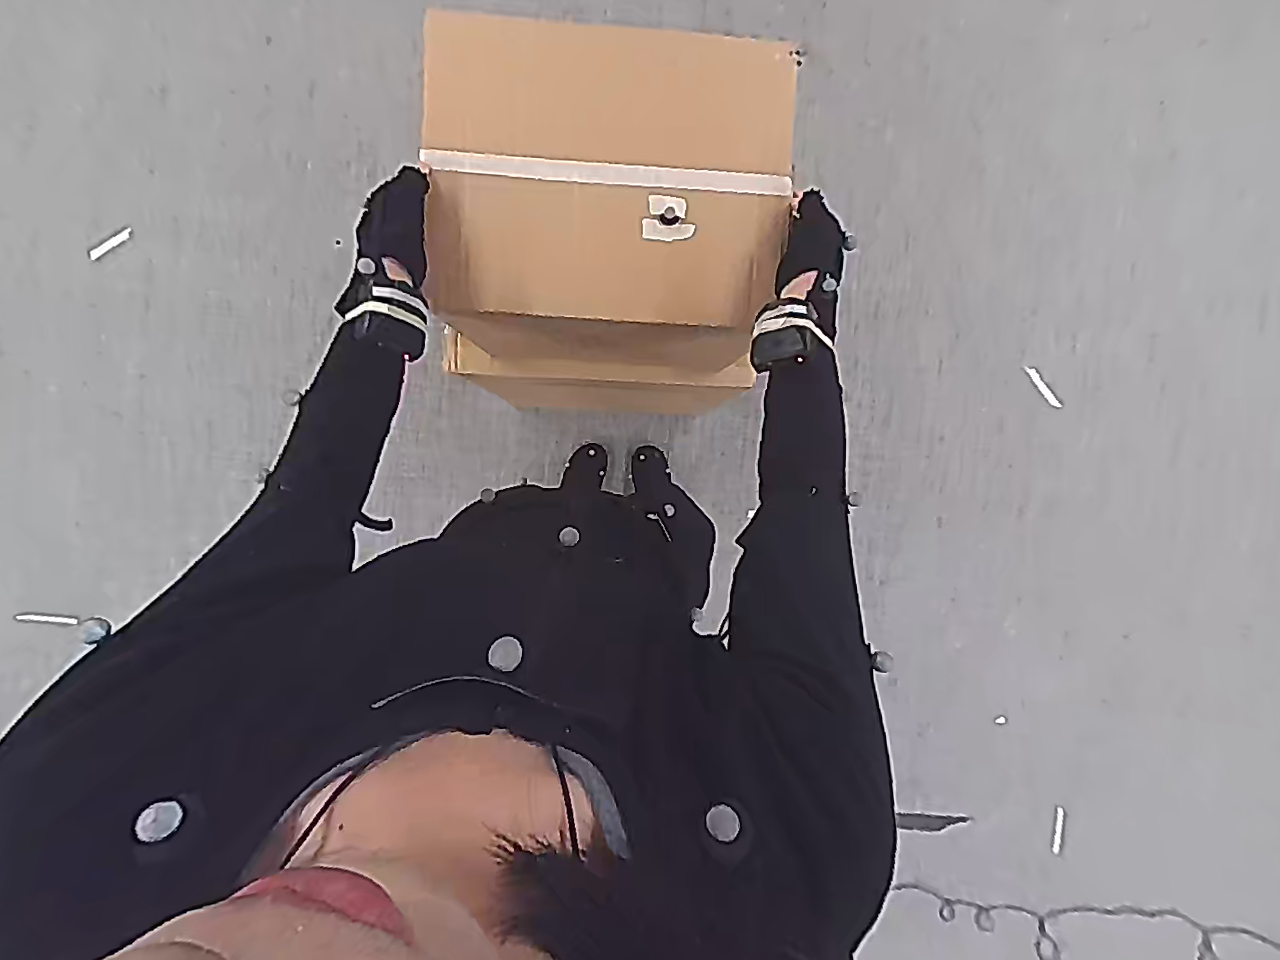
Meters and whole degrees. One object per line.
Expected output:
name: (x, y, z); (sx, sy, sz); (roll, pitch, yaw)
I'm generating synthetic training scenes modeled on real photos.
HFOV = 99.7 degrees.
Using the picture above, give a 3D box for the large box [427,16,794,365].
large box: (-0.043, -0.342, 0.741); (0.408, 0.320, 0.320); (2, 93, -4)
